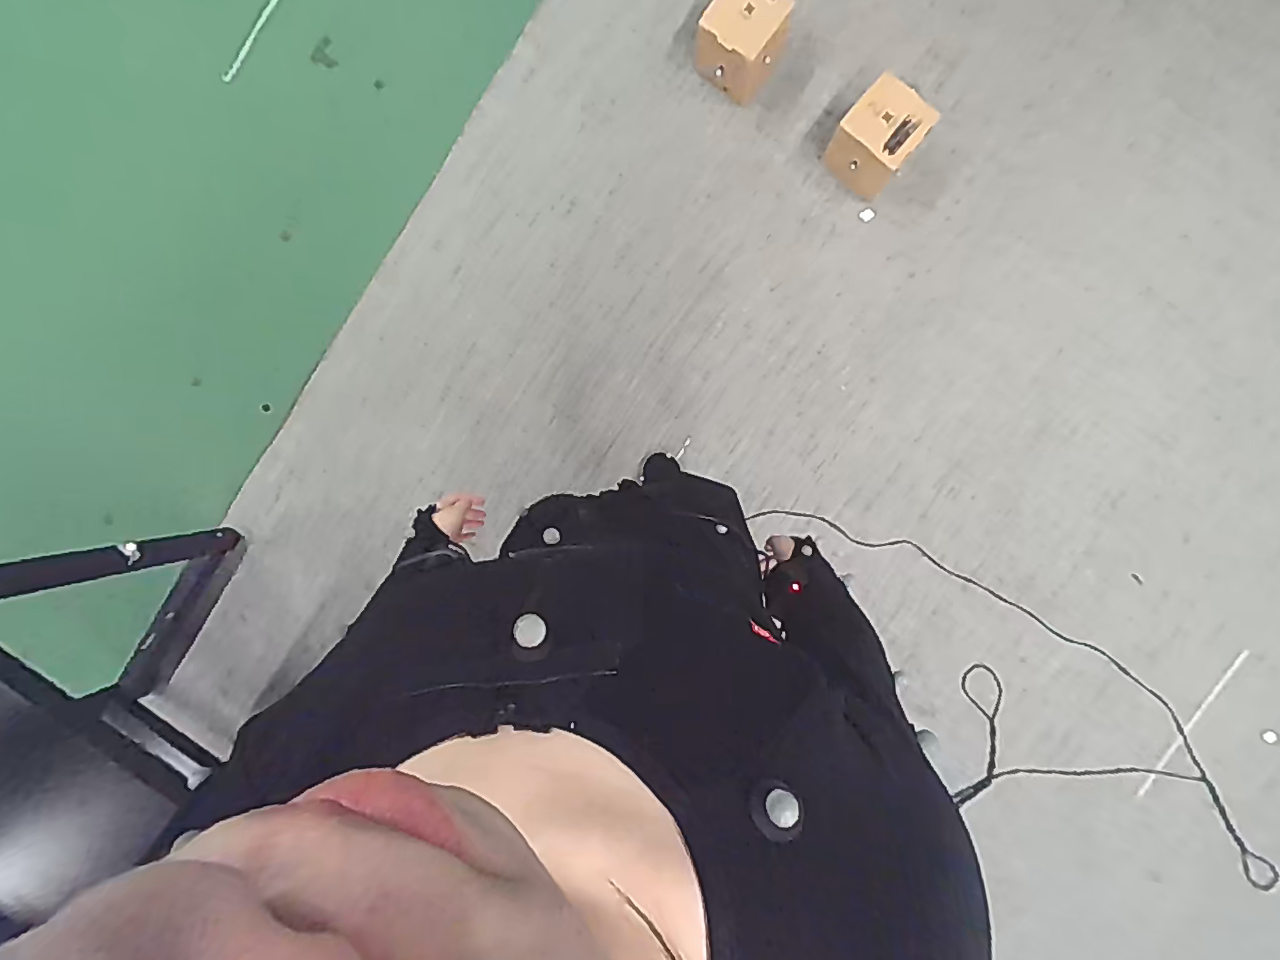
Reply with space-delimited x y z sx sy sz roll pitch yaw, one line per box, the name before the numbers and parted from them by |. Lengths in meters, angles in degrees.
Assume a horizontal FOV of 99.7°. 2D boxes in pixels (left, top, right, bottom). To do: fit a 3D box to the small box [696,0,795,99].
small box | 0.257 -1.117 1.356 0.168 0.176 0.179 39 95 1
